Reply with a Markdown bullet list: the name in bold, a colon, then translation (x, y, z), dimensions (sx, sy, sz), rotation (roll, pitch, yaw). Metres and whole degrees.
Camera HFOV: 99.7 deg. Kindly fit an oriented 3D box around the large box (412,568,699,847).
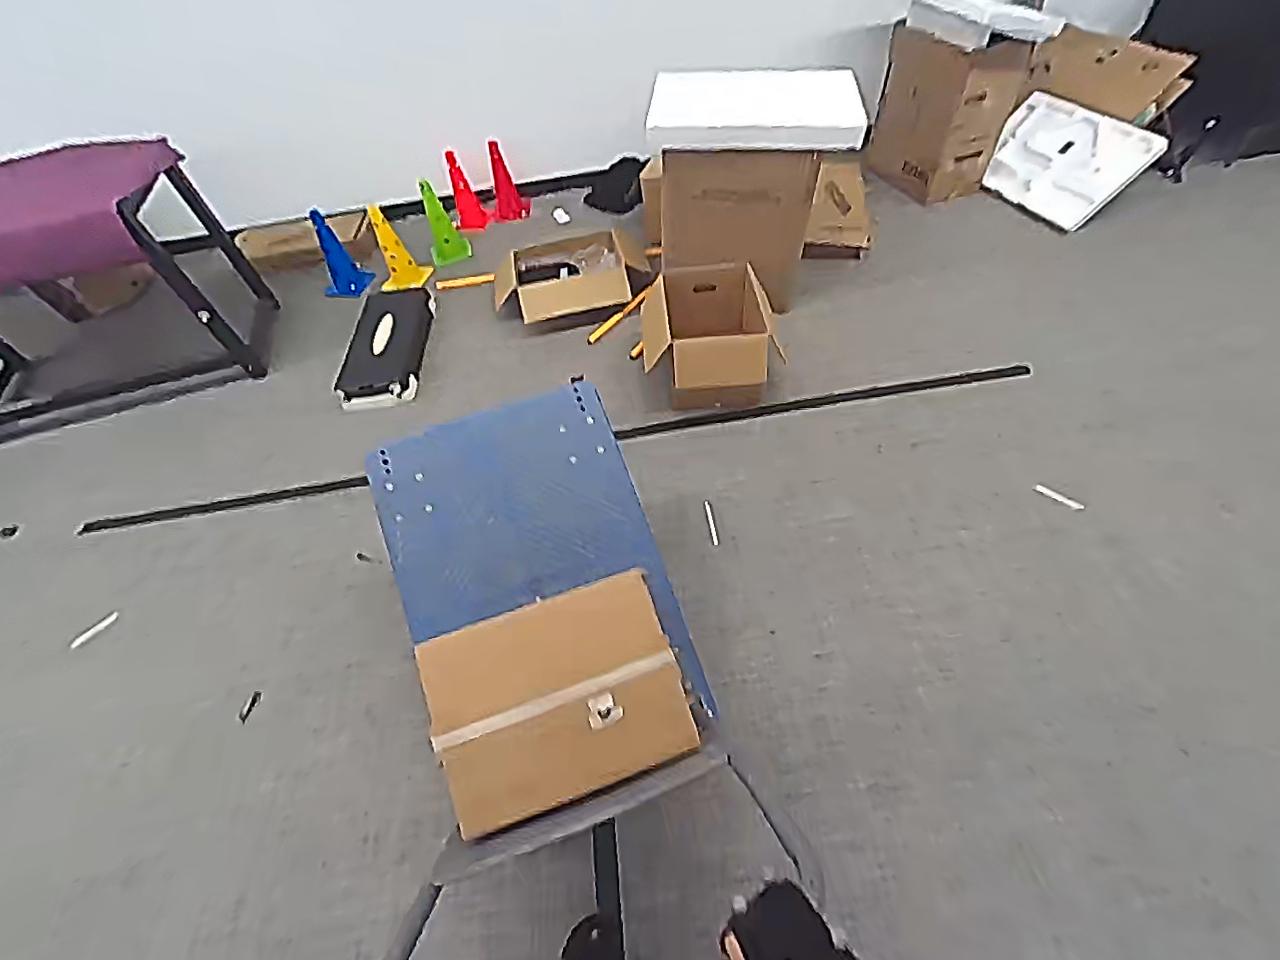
- **large box**: translation (-0.151, 0.393, 1.026), dimensions (0.408, 0.320, 0.320), rotation (-19, 80, -9)
